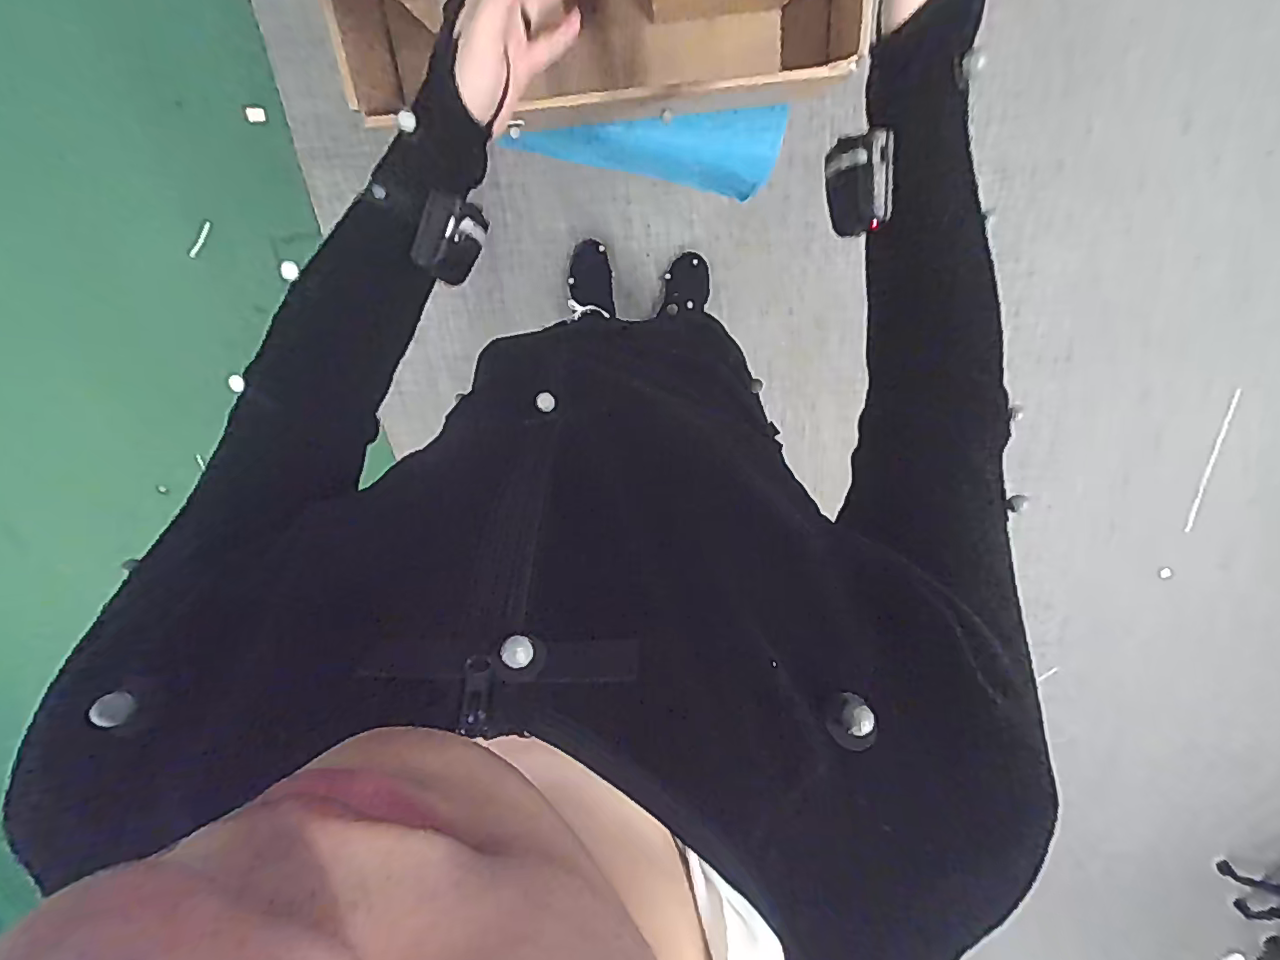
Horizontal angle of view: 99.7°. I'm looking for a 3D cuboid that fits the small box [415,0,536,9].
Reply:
[{"bbox_3d":[-0.177,-0.562,0.477,0.168,0.176,0.179,-3,114,3],"label":"small box"}]
